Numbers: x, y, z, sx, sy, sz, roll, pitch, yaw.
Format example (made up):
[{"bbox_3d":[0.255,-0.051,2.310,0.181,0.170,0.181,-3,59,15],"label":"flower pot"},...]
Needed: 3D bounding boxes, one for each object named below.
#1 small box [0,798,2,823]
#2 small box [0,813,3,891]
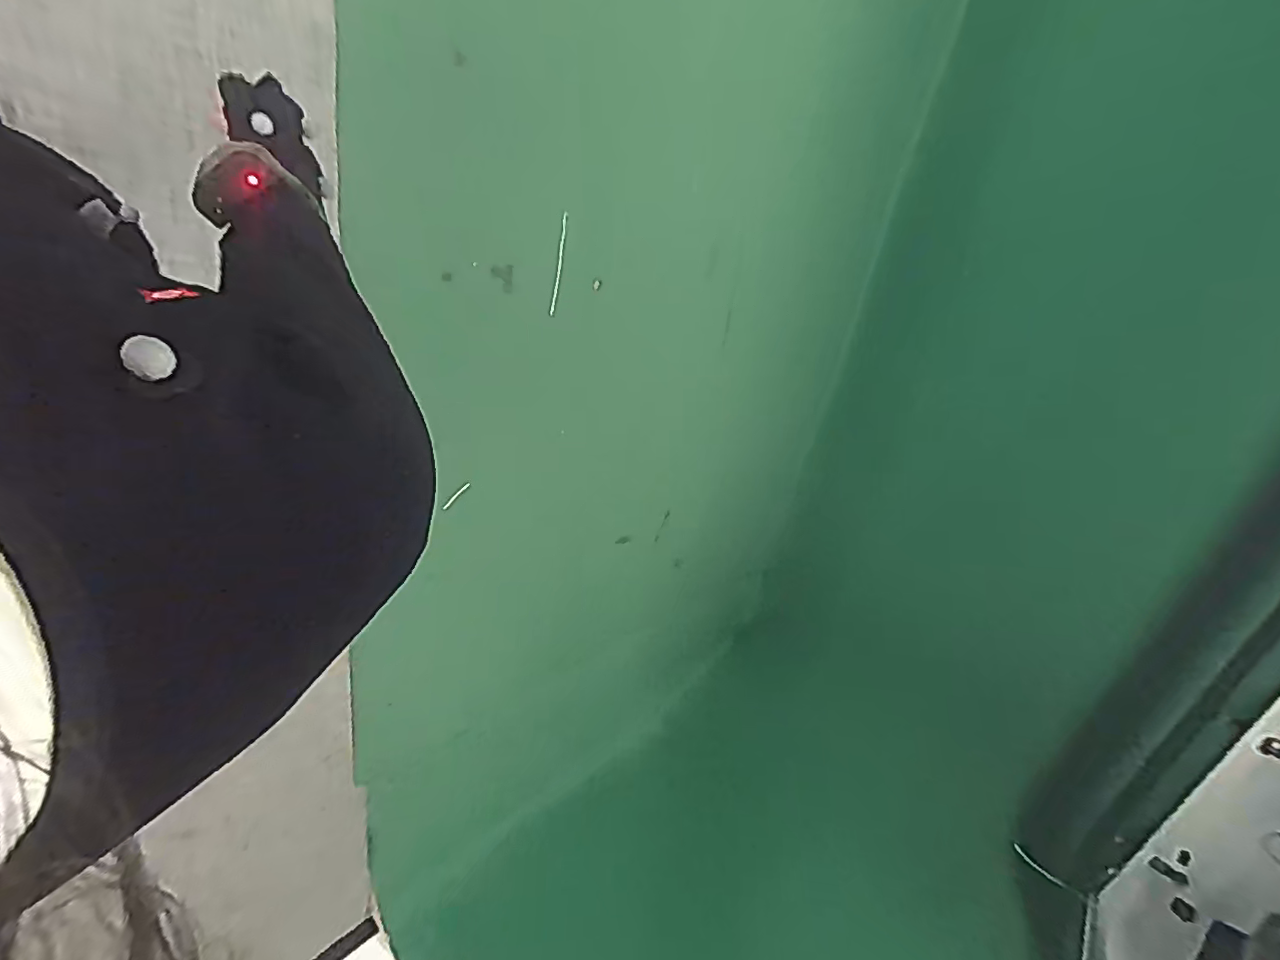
[{"bbox_3d":[-1.368,0.590,1.027,0.168,0.176,0.179,-18,128,-45],"label":"small box"},{"bbox_3d":[-1.242,0.651,0.915,0.179,0.176,0.168,-23,132,-40],"label":"small box"}]
